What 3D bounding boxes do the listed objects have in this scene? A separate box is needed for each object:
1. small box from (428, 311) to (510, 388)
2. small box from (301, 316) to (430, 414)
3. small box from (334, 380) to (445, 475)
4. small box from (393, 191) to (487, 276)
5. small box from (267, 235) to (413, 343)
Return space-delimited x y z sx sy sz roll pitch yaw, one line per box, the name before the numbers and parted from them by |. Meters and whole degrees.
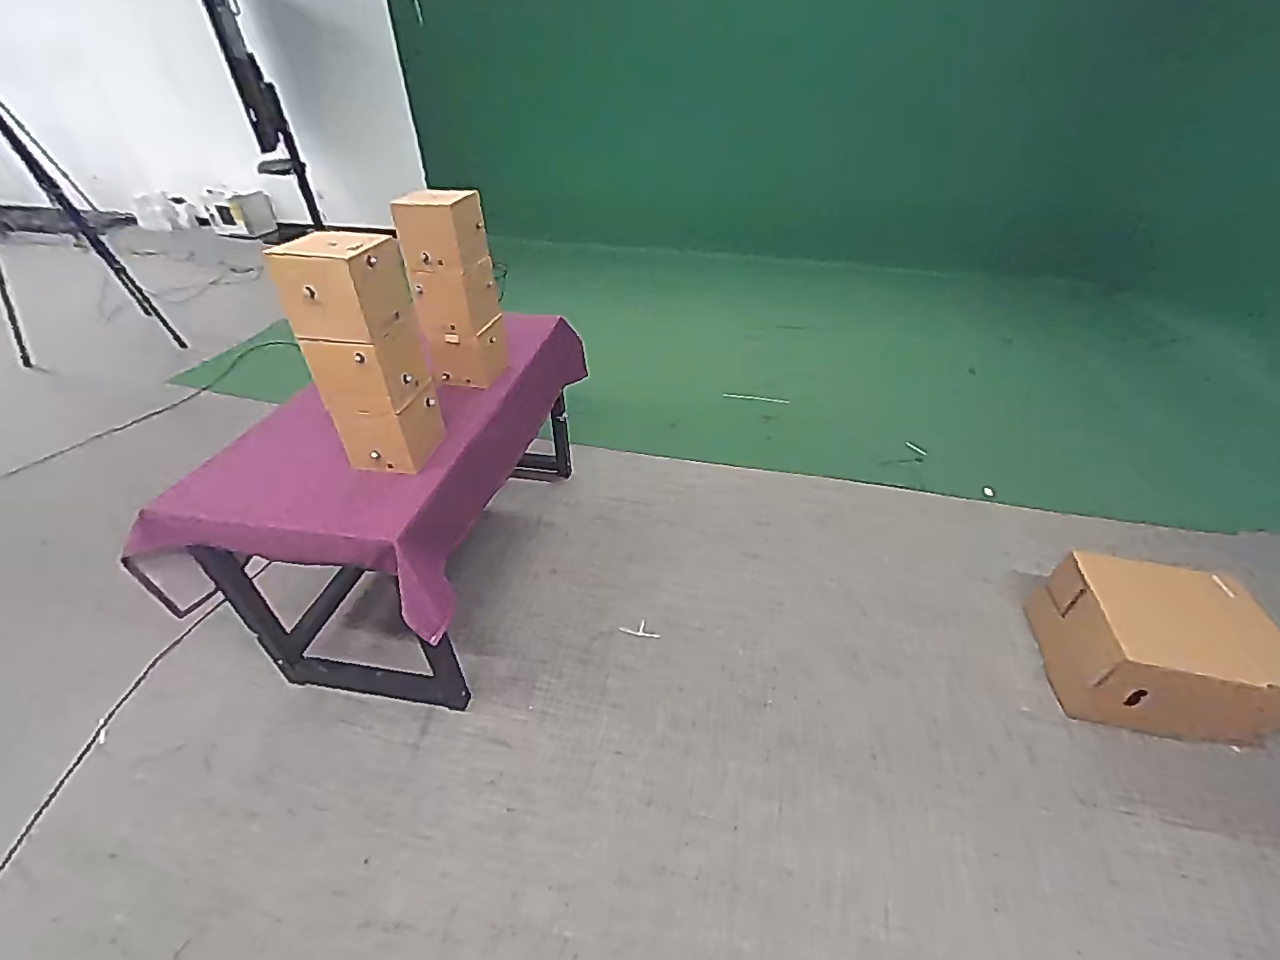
small box | -0.507 -0.395 1.636 0.168 0.176 0.179 7 39 9
small box | -0.601 -0.262 1.209 0.179 0.176 0.168 6 39 7
small box | -0.594 -0.136 1.312 0.168 0.176 0.179 5 39 8
small box | -0.522 -0.660 1.444 0.168 0.176 0.179 6 39 8
small box | -0.600 -0.391 1.107 0.179 0.176 0.168 6 39 8
